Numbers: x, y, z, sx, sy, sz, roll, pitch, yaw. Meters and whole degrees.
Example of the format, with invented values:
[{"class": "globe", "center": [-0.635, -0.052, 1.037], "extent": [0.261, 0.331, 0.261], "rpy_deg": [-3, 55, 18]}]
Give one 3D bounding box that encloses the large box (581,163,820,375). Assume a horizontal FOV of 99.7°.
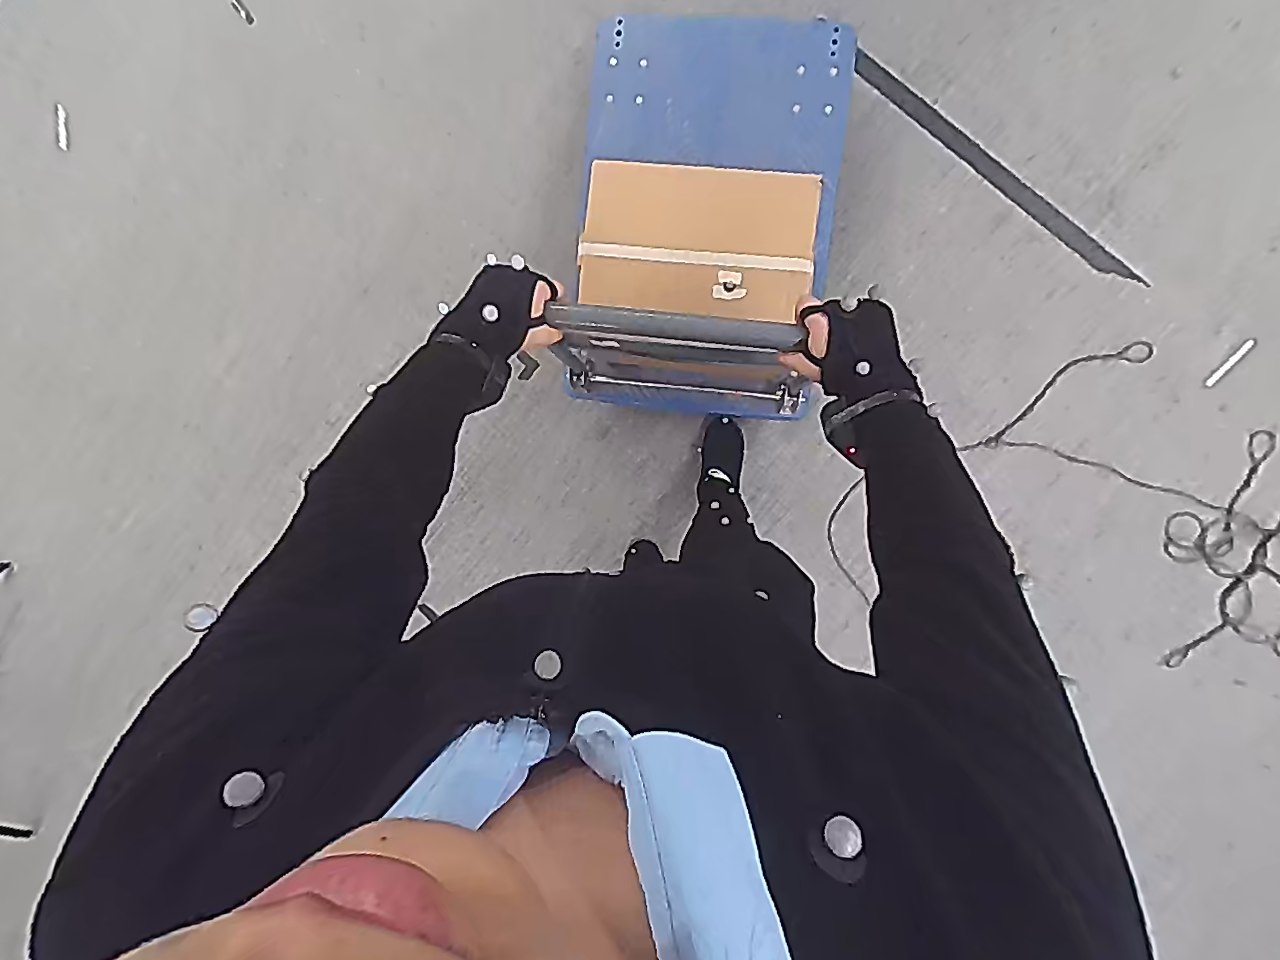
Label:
[{"class": "large box", "center": [0.112, -0.403, 1.106], "extent": [0.408, 0.320, 0.320], "rpy_deg": [7, 95, 4]}]
